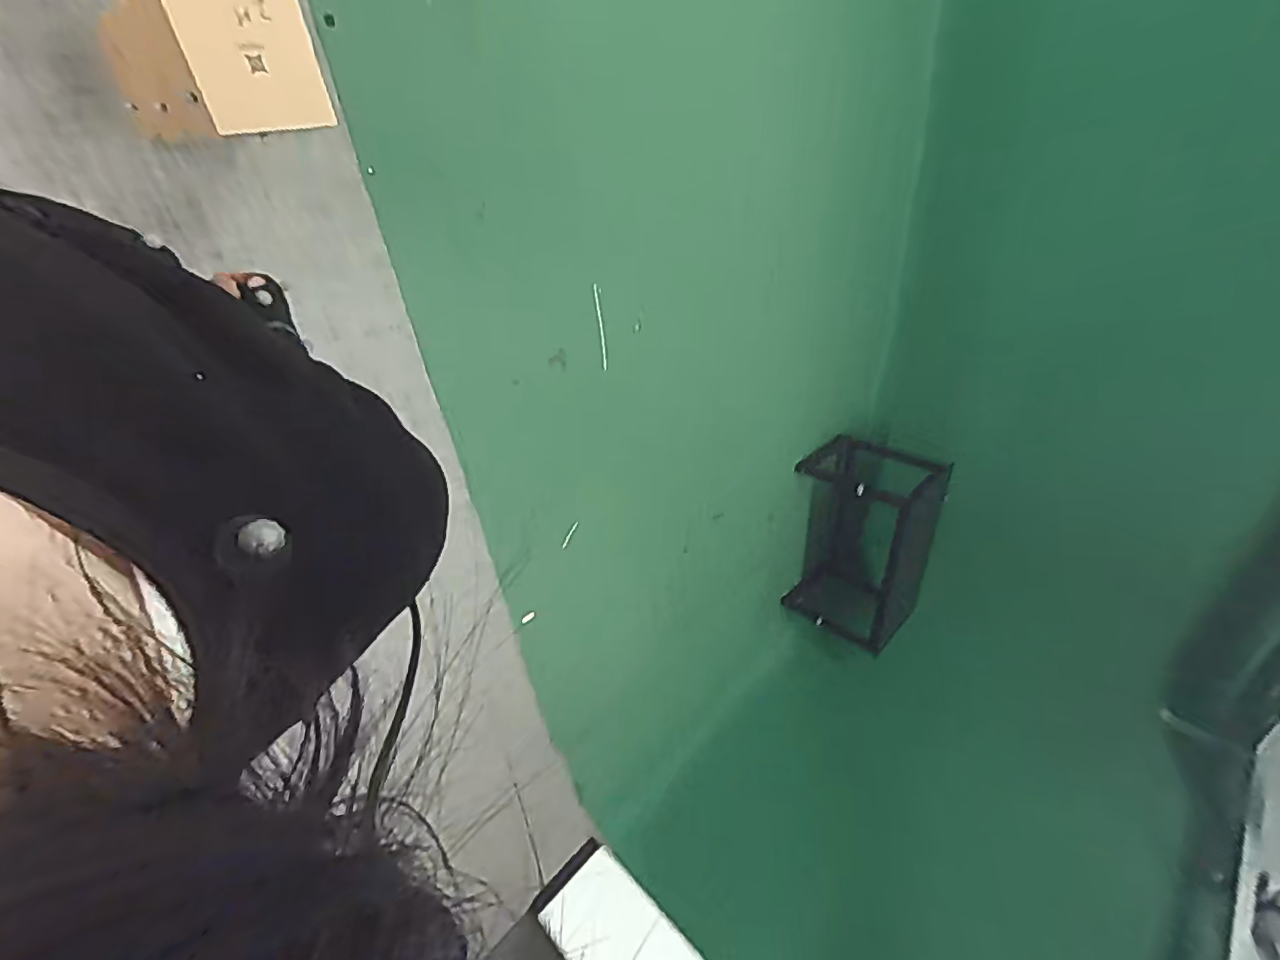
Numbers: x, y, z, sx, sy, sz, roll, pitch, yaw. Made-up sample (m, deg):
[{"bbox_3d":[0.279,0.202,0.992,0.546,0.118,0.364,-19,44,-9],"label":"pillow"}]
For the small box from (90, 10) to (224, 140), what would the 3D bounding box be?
[{"bbox_3d":[-0.842,-0.720,0.979,0.179,0.176,0.168,-30,130,-36],"label":"small box"}]

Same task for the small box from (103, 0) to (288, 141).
[{"bbox_3d":[-0.724,-0.667,0.883,0.168,0.176,0.179,-33,133,-34],"label":"small box"}]
